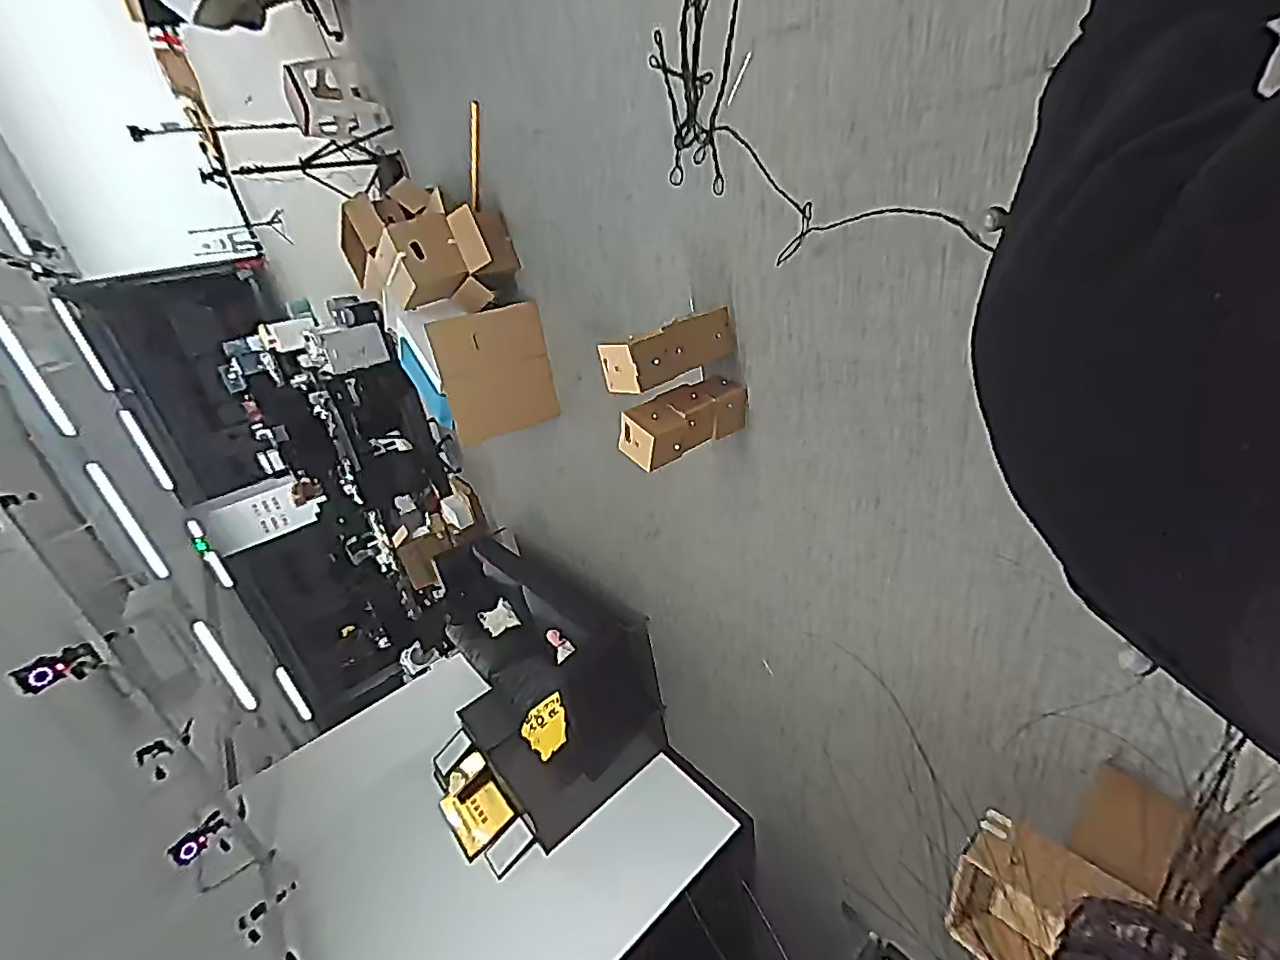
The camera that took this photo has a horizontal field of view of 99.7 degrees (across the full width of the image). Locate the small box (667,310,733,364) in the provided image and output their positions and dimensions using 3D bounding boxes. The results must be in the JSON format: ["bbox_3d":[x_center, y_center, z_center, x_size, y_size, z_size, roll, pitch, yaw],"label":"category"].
[{"bbox_3d":[0.232,-0.531,2.022,0.179,0.176,0.168,12,122,52],"label":"small box"}]

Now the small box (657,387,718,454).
[{"bbox_3d":[0.174,-0.222,2.031,0.168,0.176,0.179,38,140,36],"label":"small box"}]

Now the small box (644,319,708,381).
[{"bbox_3d":[0.118,-0.458,1.930,0.168,0.176,0.179,4,117,53],"label":"small box"}]

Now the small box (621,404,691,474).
[{"bbox_3d":[0.055,-0.155,1.940,0.179,0.176,0.168,41,142,32],"label":"small box"}]

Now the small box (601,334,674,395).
[{"bbox_3d":[-0.002,-0.395,1.839,0.179,0.176,0.168,14,125,48],"label":"small box"}]
